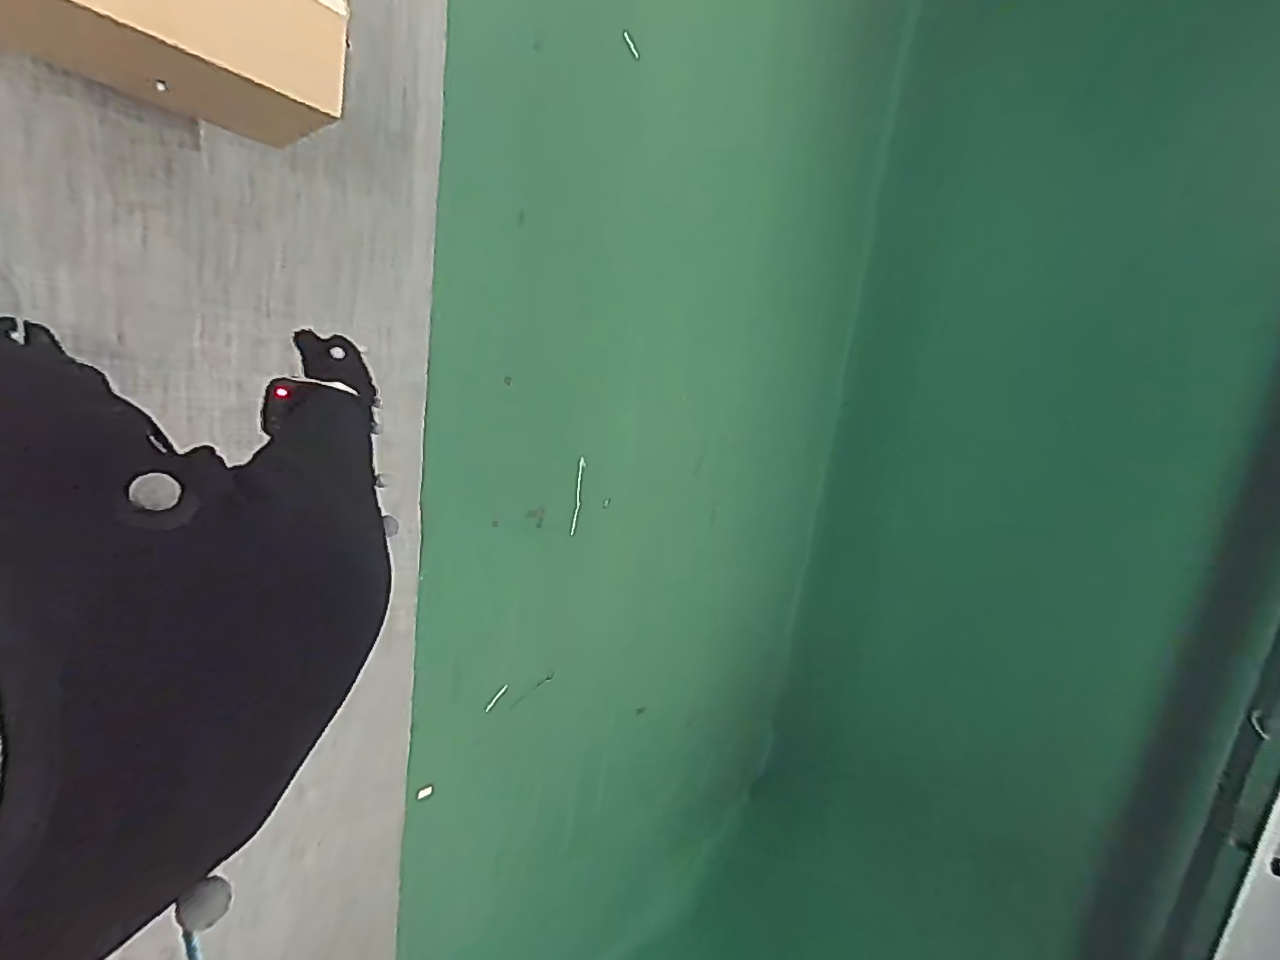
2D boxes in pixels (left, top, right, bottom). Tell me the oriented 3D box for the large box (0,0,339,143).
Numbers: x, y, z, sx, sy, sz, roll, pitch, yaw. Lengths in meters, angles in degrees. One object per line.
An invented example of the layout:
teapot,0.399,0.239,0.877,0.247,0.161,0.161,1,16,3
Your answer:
large box,-0.723,-0.769,0.812,0.408,0.320,0.320,-3,104,-50
